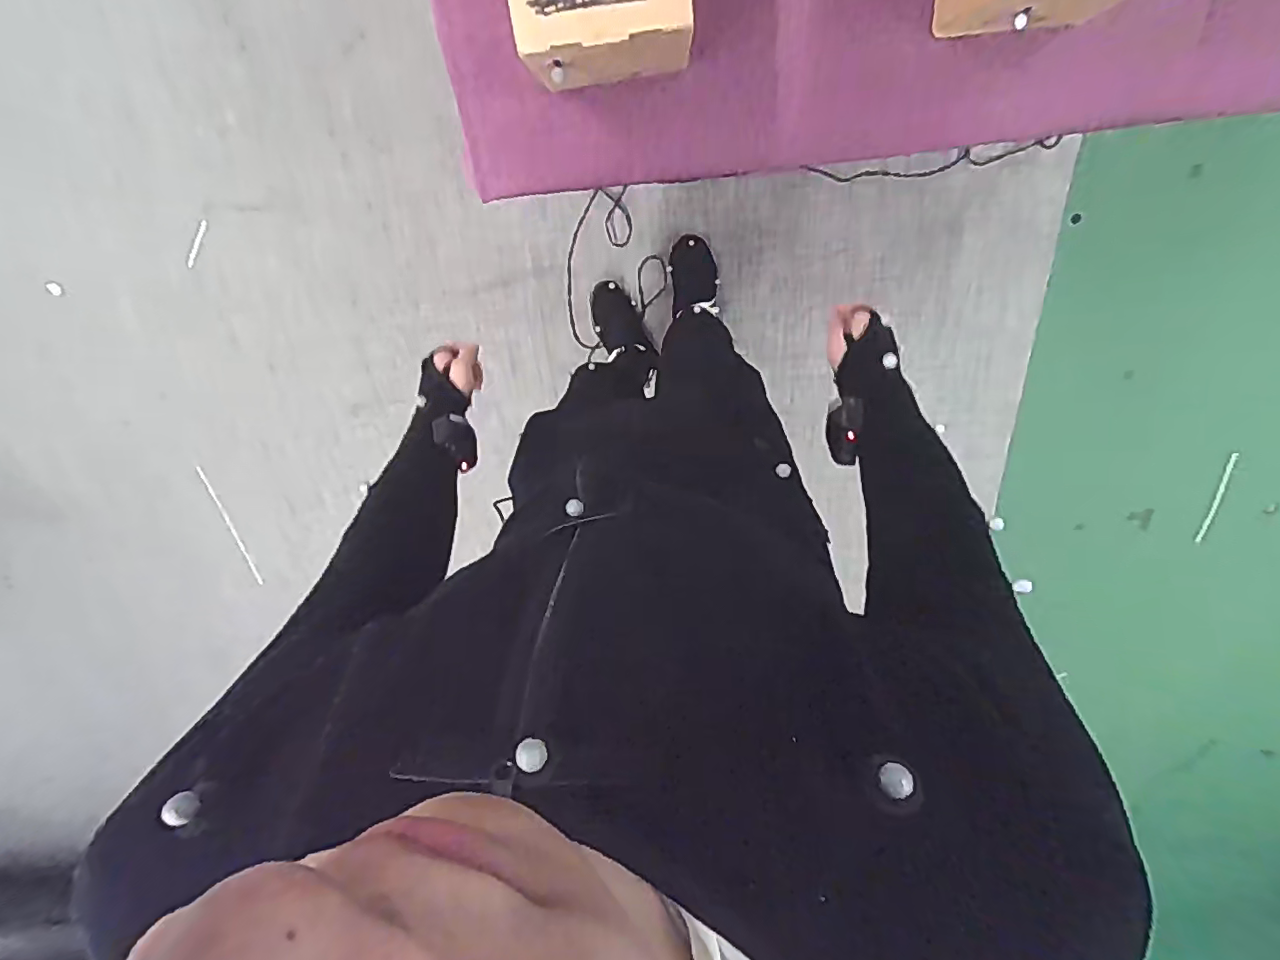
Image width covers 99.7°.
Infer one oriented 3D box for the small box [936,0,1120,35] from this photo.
[{"bbox_3d":[0.403,-0.552,0.499,0.168,0.176,0.179,-3,116,3],"label":"small box"}]
